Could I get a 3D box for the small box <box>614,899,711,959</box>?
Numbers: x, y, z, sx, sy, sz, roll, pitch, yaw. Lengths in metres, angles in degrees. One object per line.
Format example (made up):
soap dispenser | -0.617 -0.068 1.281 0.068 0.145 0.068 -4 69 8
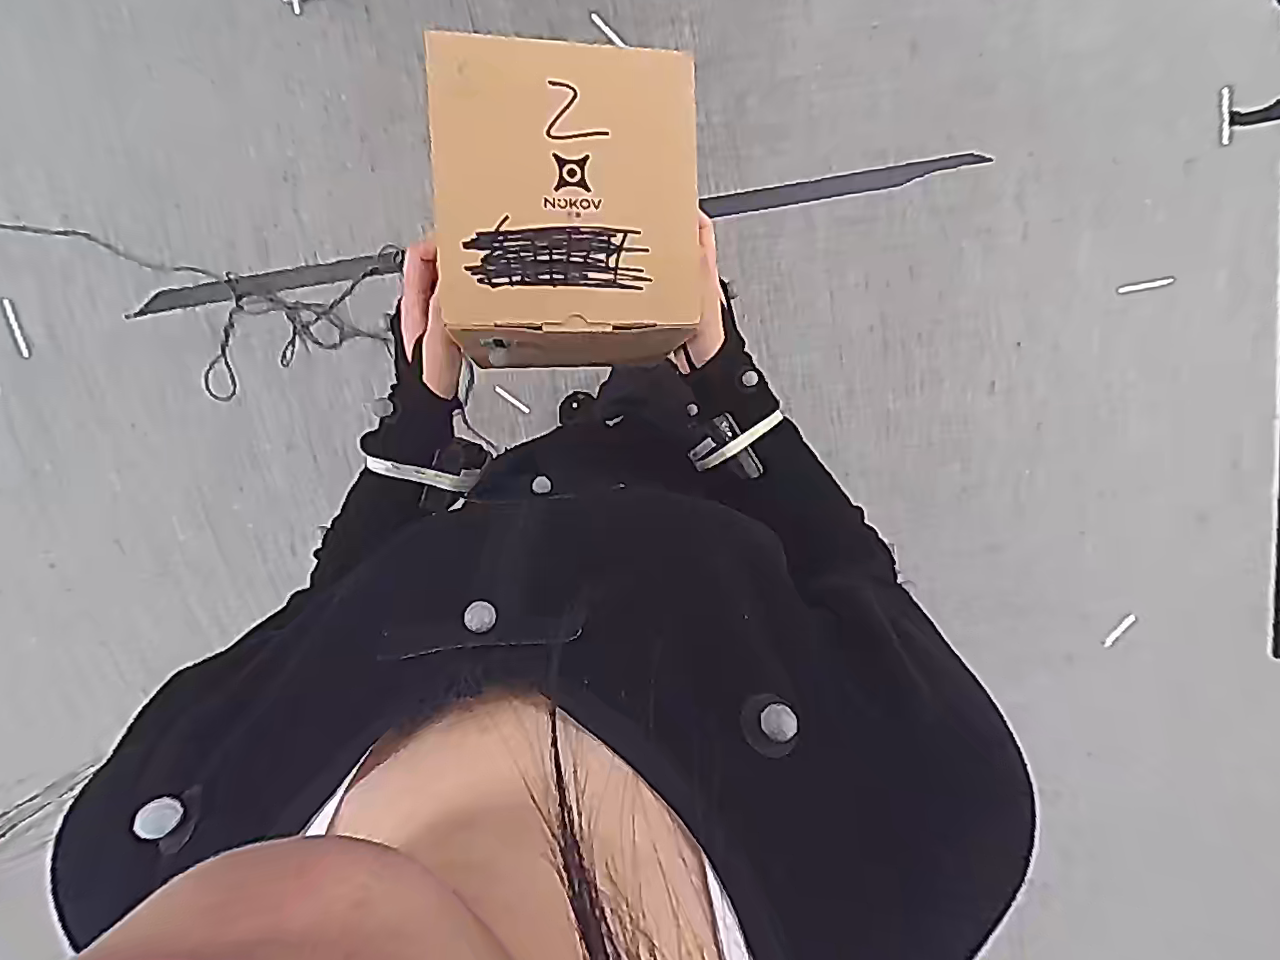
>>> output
small box | 0.048 0.899 0.973 0.168 0.176 0.179 -9 100 -3
